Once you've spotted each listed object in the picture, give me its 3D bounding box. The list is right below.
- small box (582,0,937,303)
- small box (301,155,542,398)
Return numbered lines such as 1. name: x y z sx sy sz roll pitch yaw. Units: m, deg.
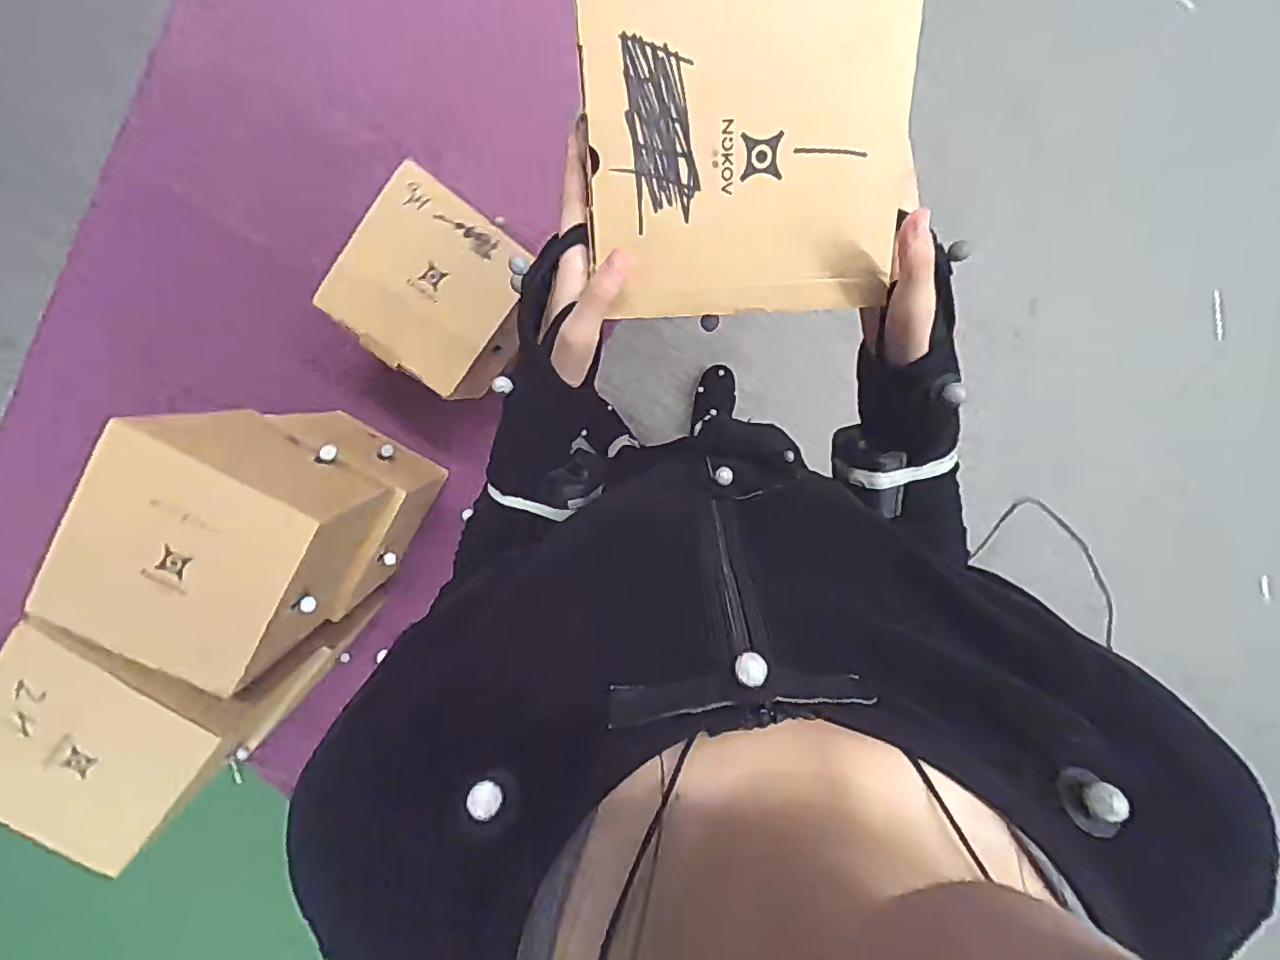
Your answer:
1. small box: 0.058 -0.206 0.359 0.179 0.176 0.168 -2 111 -2
2. small box: -0.227 -0.211 0.617 0.168 0.176 0.179 36 95 -10
